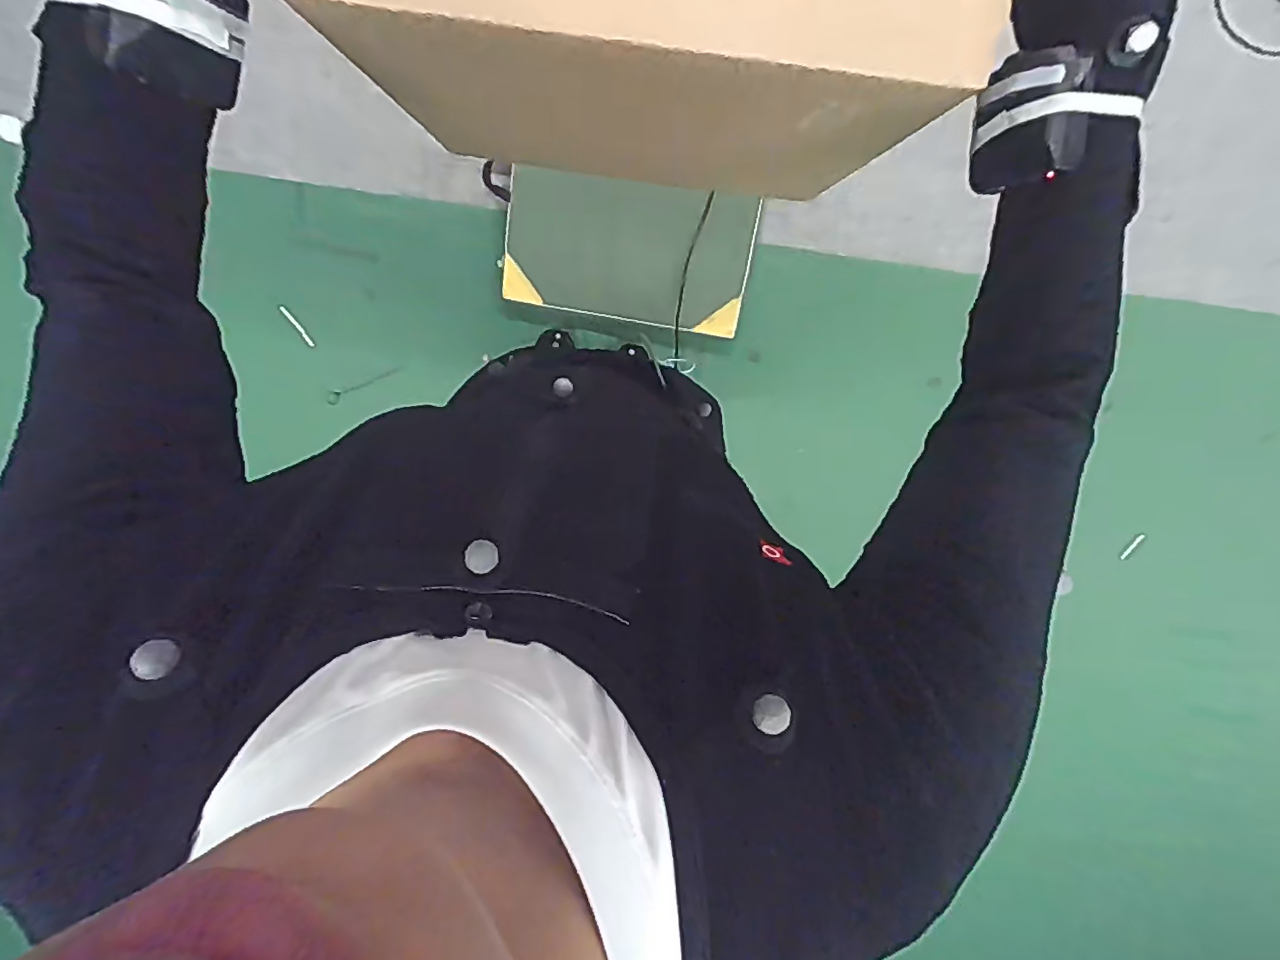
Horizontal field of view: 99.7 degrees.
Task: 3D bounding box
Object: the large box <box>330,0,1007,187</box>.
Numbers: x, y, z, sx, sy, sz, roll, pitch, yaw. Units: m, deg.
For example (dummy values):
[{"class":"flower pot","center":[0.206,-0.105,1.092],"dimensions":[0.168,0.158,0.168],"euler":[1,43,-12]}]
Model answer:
[{"class":"large box","center":[0.018,-0.444,0.409],"dimensions":[0.408,0.320,0.320],"euler":[5,107,-4]}]
